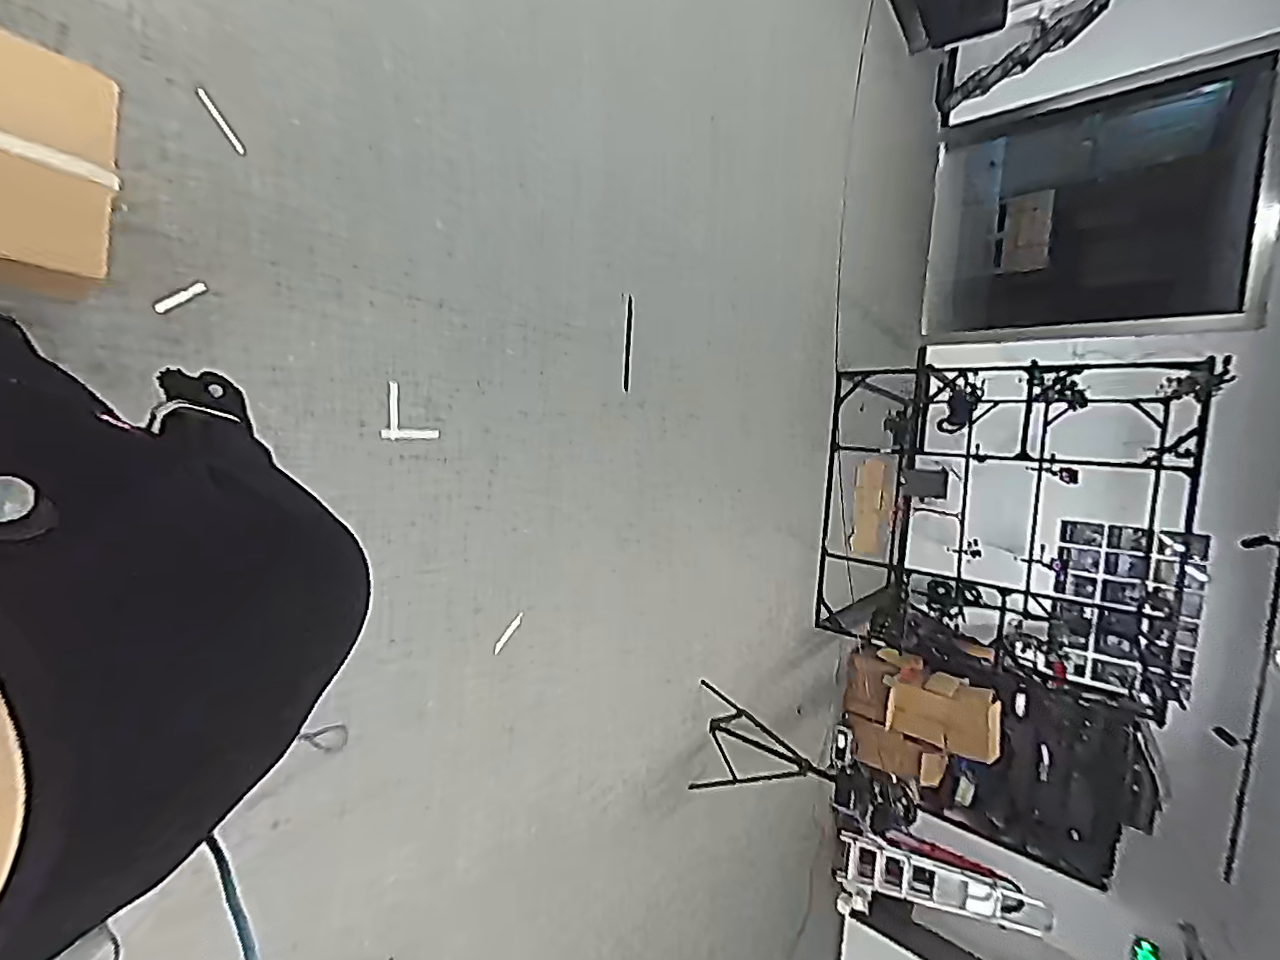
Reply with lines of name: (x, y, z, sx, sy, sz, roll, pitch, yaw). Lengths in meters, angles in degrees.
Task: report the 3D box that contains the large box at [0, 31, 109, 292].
large box: (-1.080, -0.497, 0.793, 0.408, 0.320, 0.320, 4, 92, -51)
